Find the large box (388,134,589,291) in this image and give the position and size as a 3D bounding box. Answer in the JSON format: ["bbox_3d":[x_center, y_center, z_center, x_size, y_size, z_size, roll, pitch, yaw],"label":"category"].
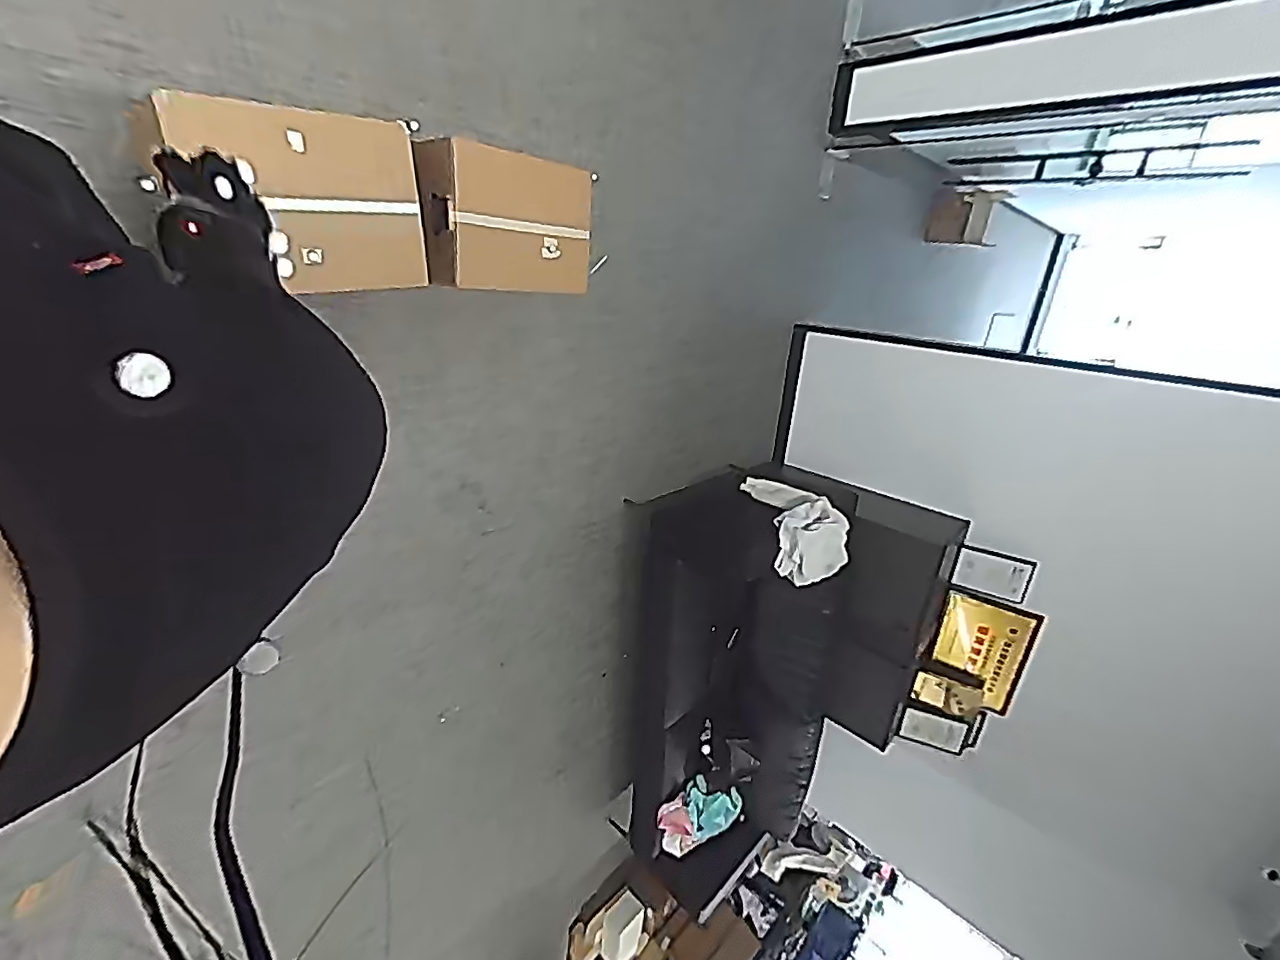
[{"bbox_3d":[-0.388,-0.678,1.424,0.408,0.320,0.320,-17,121,-45],"label":"large box"}]
